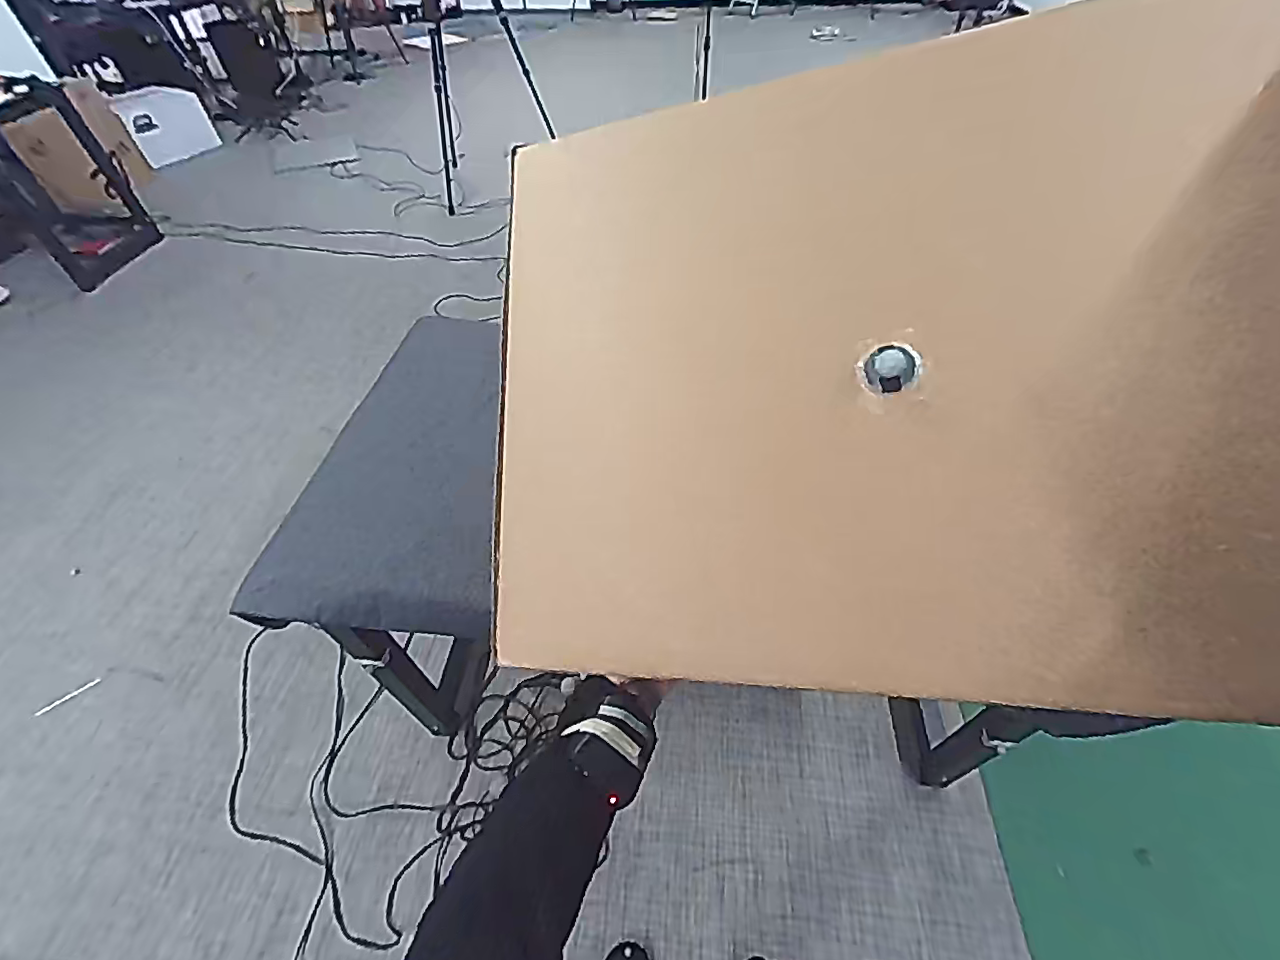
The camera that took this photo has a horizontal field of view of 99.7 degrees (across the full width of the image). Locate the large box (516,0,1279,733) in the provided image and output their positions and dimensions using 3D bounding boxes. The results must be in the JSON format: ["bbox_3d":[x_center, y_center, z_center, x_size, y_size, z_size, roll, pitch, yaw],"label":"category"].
[{"bbox_3d":[0.161,-0.031,0.399,0.408,0.320,0.320,-4,81,17],"label":"large box"}]
